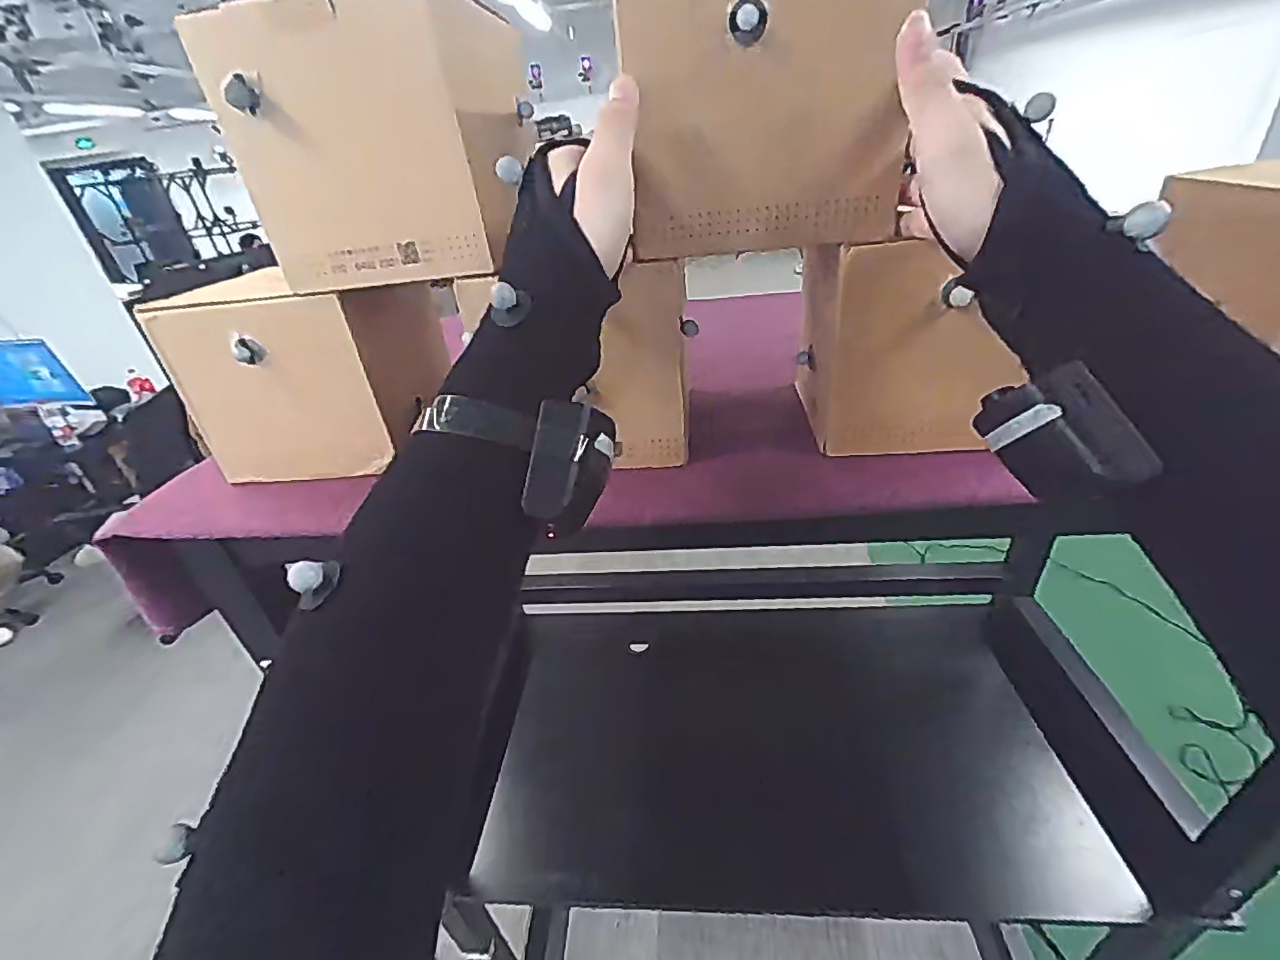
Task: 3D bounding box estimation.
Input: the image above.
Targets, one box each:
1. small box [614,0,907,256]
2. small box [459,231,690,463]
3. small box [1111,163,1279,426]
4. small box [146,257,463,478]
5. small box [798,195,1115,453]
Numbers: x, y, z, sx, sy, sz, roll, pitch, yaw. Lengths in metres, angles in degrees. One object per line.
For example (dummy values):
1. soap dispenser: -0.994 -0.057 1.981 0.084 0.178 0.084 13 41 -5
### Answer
1. small box: 0.081 -0.270 0.404 0.179 0.176 0.168 -3 31 5
2. small box: -0.040 -0.124 0.502 0.168 0.176 0.179 -2 31 6
3. small box: 0.523 -0.150 0.426 0.179 0.176 0.168 -1 32 11
4. small box: -0.301 -0.111 0.532 0.179 0.176 0.168 -2 31 6
5. small box: 0.239 -0.136 0.467 0.179 0.176 0.168 -3 31 8
